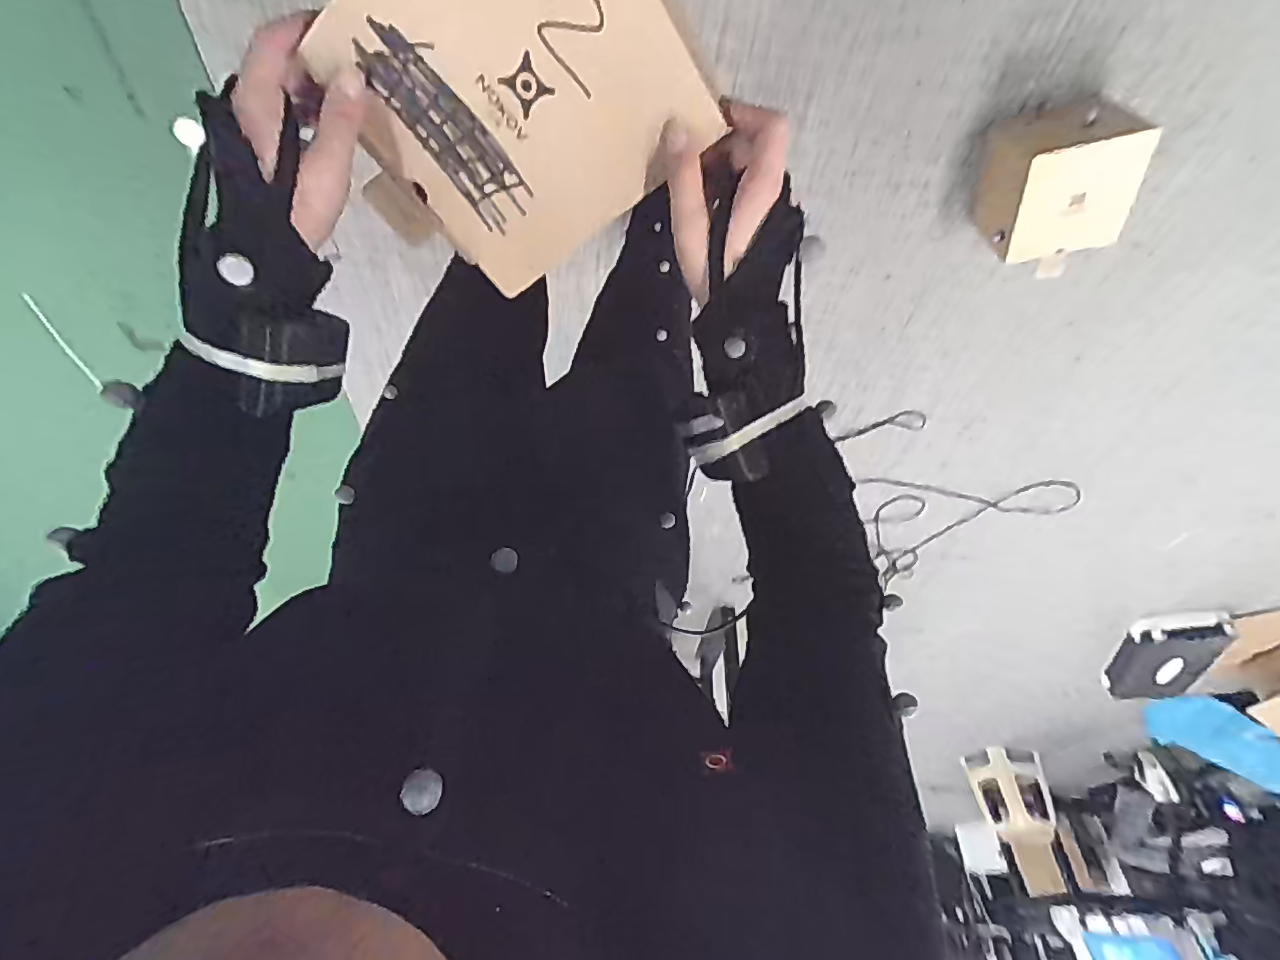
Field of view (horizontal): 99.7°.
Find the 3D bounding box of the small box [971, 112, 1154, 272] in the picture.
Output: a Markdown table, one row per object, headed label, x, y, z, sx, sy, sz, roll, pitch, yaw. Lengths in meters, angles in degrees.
| label | x | y | z | sx | sy | sz | roll | pitch | yaw |
| --- | --- | --- | --- | --- | --- | --- | --- | --- | --- |
| small box | 0.679 | -0.483 | 0.900 | 0.168 | 0.176 | 0.179 | -8 | 138 | 12 |
